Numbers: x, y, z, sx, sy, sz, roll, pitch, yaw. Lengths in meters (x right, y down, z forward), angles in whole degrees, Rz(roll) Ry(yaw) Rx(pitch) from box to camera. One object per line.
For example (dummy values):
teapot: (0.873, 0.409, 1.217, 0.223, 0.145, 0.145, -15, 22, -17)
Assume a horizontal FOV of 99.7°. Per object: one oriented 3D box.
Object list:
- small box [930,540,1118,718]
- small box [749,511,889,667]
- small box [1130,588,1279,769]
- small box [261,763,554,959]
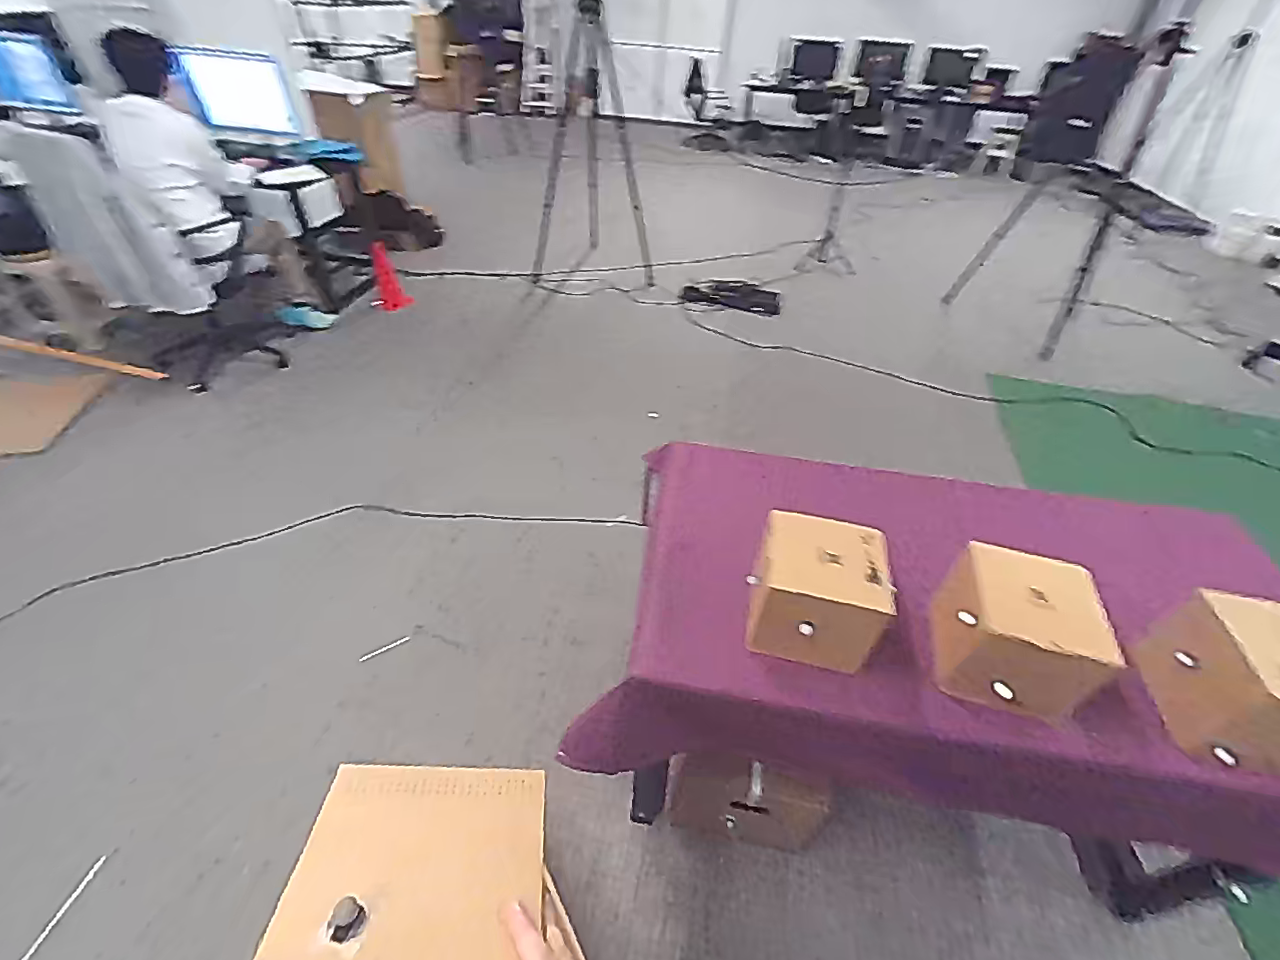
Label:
small box: (0.567, 0.227, 0.831, 0.168, 0.176, 0.179, 14, 44, 12)
small box: (0.276, 0.176, 0.867, 0.179, 0.176, 0.168, 10, 43, 8)
small box: (0.878, 0.289, 0.779, 0.168, 0.176, 0.179, 10, 42, 8)
small box: (-0.168, 0.353, 0.425, 0.179, 0.168, 0.176, 9, 19, -11)
